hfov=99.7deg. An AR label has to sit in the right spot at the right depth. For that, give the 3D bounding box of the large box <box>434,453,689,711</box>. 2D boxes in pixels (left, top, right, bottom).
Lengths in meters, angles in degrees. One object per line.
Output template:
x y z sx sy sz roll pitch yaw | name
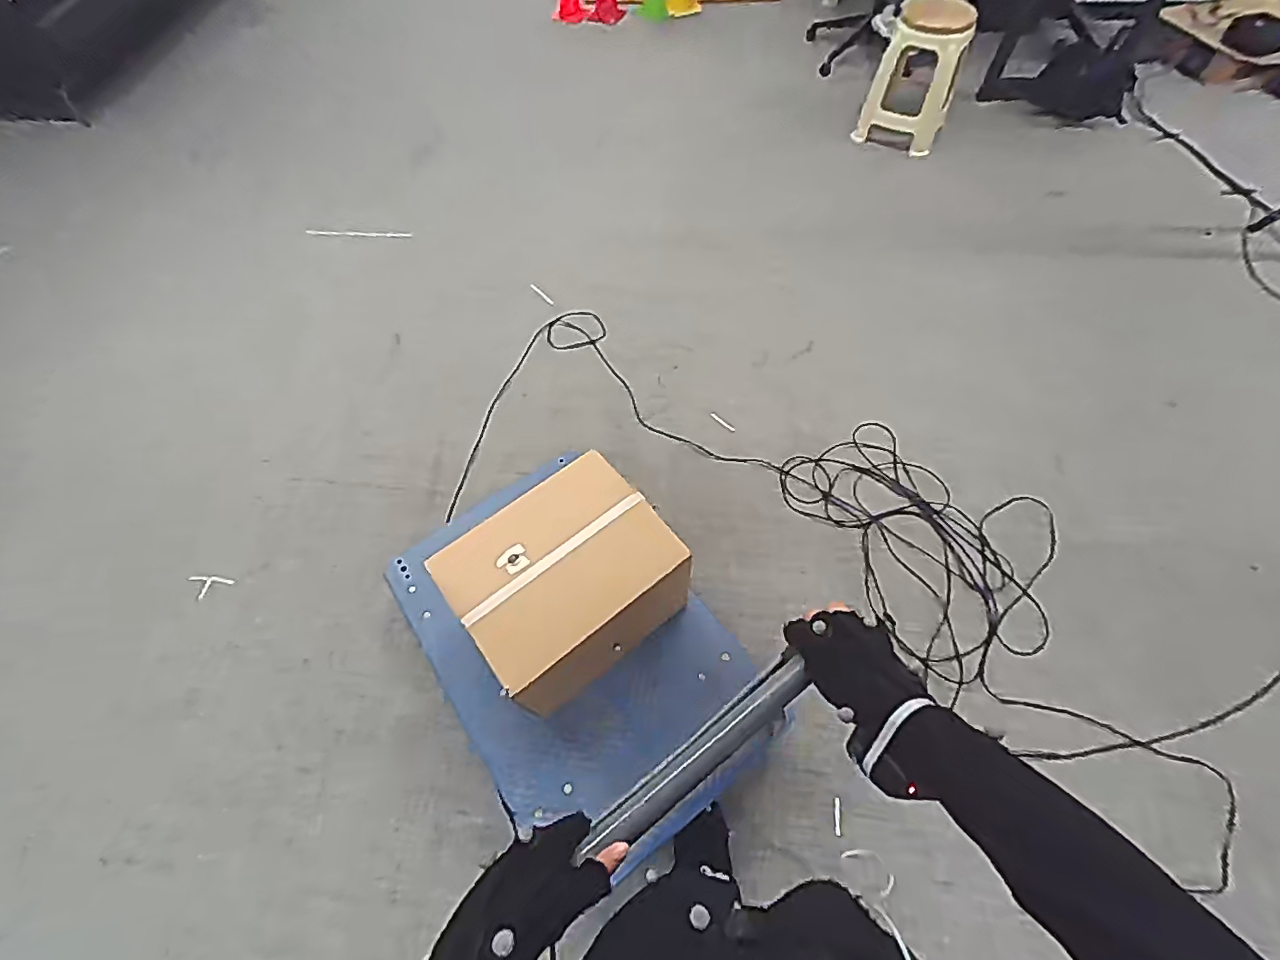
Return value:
-0.142 0.223 1.160 0.408 0.320 0.320 -36 64 -16 | large box
